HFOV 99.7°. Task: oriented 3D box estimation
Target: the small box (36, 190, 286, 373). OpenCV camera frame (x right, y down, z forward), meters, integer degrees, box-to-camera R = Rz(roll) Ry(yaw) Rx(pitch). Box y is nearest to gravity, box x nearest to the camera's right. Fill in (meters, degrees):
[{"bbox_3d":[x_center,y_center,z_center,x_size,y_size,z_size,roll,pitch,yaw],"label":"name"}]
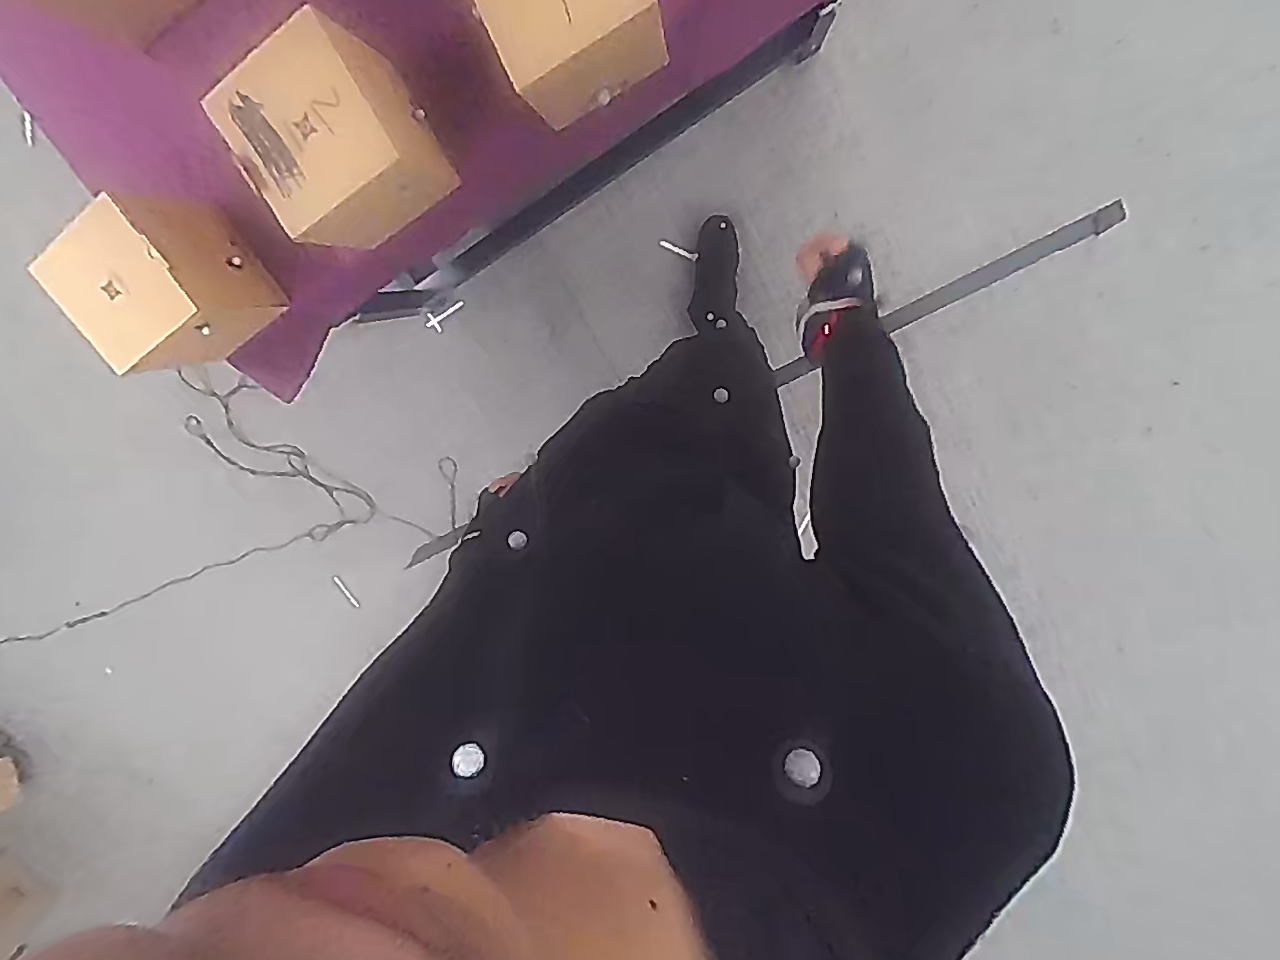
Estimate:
[{"bbox_3d":[-0.665,-0.275,0.774,0.179,0.176,0.168,-28,104,15],"label":"small box"}]
